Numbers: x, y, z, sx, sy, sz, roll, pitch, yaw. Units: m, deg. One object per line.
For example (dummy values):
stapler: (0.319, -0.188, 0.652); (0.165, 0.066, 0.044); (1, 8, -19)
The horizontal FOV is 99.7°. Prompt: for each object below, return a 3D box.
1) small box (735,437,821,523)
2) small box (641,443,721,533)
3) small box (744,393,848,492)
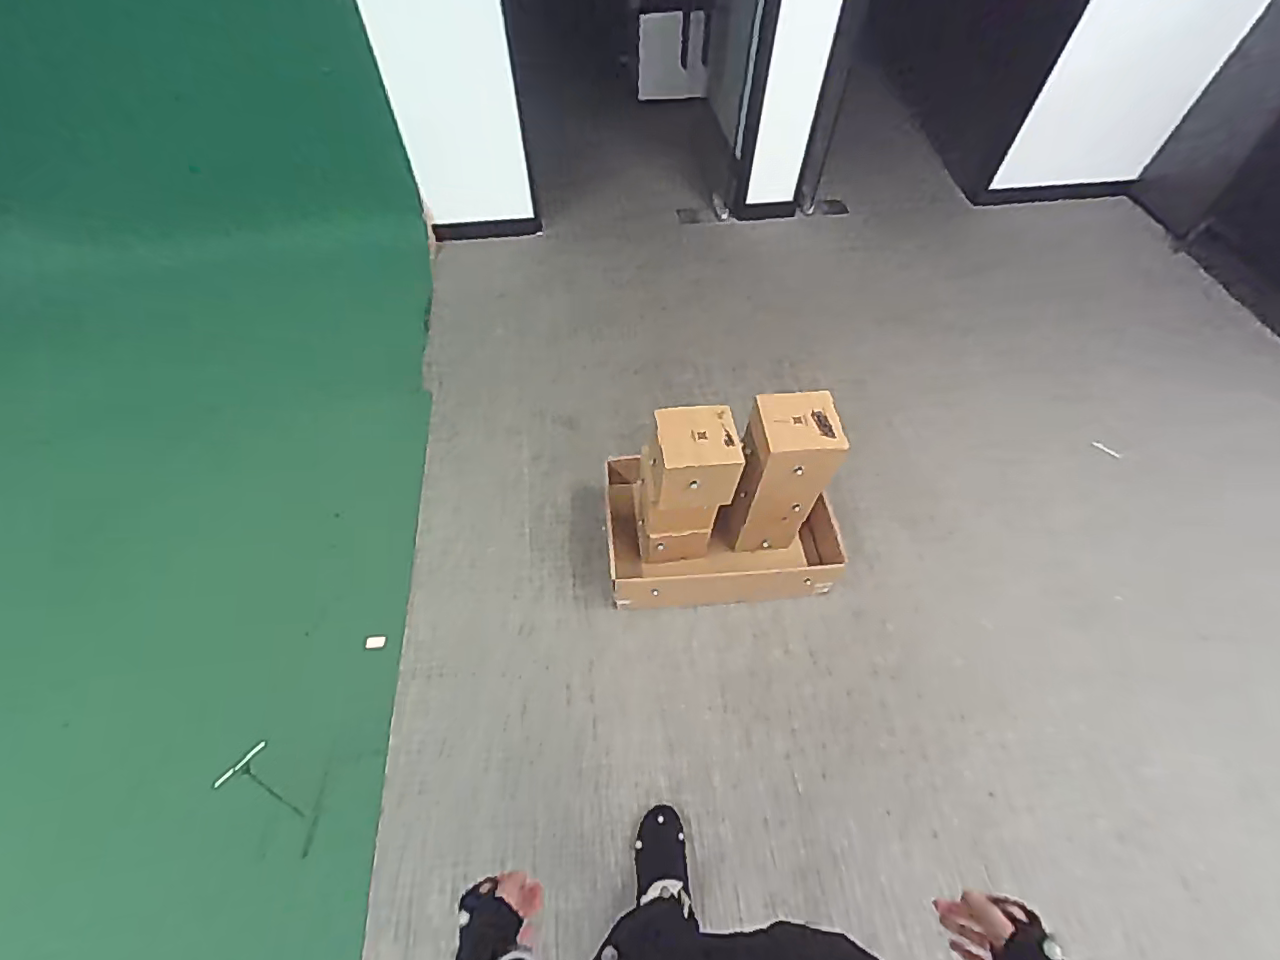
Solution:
small box: (0.349, 0.002, 1.403); (0.168, 0.176, 0.179); (-4, 56, -3)
small box: (0.098, 0.025, 1.387); (0.179, 0.176, 0.168); (-5, 57, -6)
small box: (0.355, -0.085, 1.264); (0.179, 0.176, 0.168); (-4, 57, -2)
